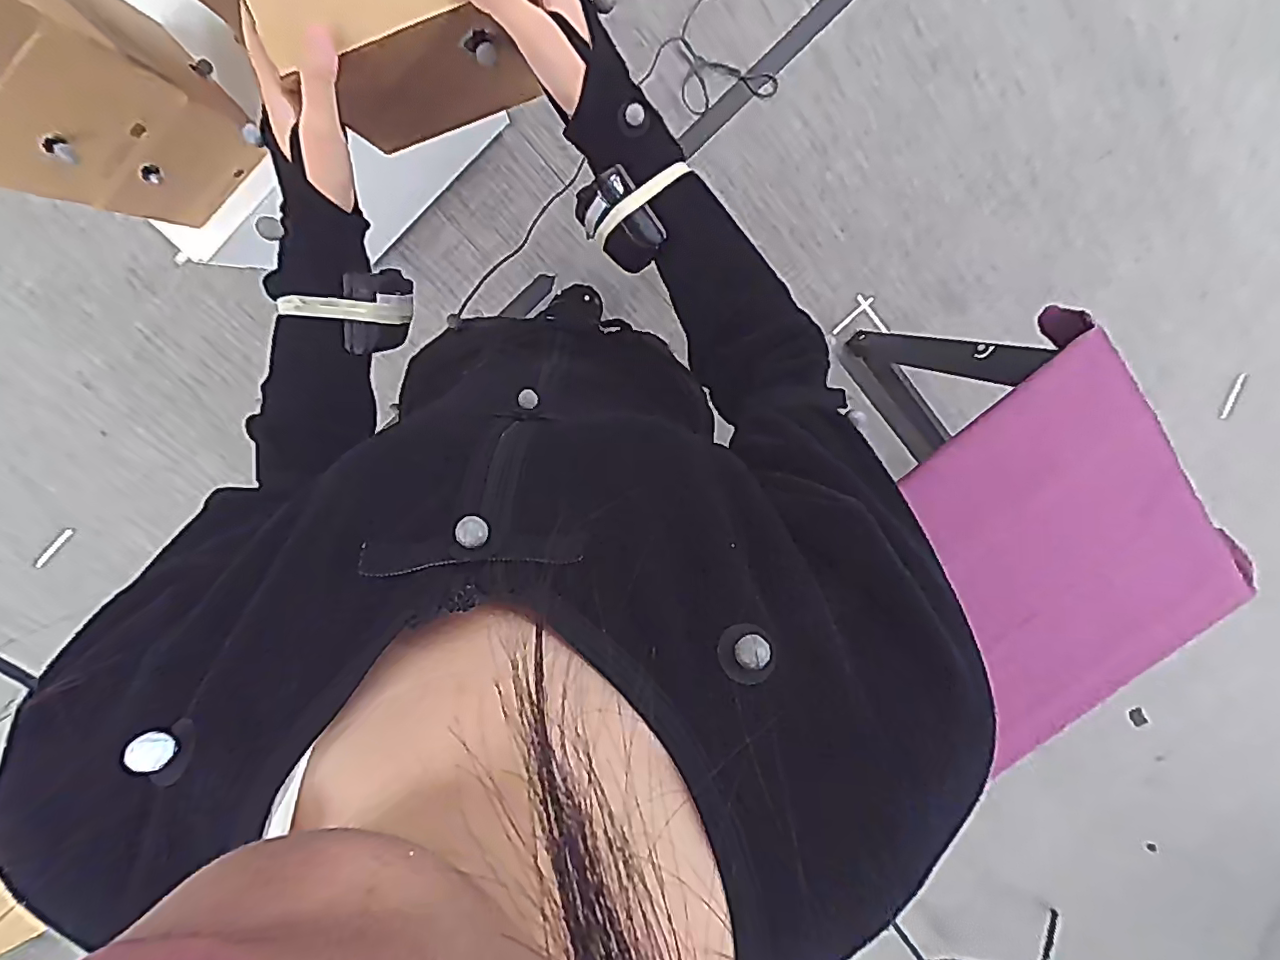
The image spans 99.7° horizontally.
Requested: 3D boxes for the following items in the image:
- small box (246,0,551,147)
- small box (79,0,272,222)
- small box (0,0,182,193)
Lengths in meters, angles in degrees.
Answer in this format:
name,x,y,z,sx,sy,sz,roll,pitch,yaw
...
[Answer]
name,x,y,z,sx,sy,sz,roll,pitch,yaw
small box,-0.172,-0.376,0.389,0.179,0.176,0.168,-18,106,4
small box,-0.590,-0.433,0.628,0.168,0.176,0.179,-41,106,8
small box,-0.573,-0.383,0.474,0.168,0.176,0.179,-42,106,8
